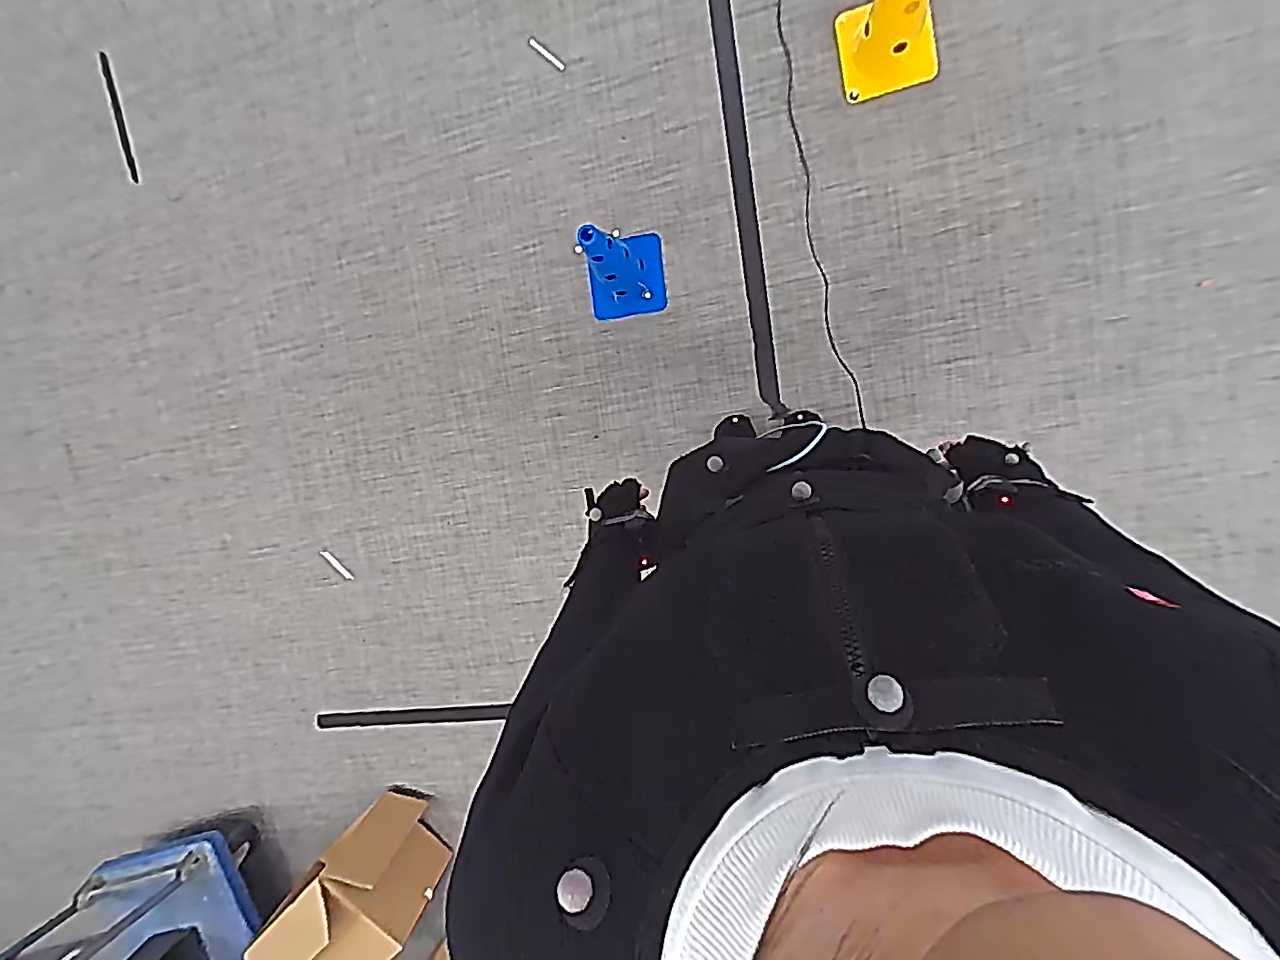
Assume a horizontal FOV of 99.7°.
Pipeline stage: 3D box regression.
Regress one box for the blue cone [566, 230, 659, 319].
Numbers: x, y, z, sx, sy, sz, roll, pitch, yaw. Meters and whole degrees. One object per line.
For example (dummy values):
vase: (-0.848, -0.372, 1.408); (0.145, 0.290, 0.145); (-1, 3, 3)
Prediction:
blue cone: (-0.083, -0.511, 1.264); (0.192, 0.380, 0.193); (-4, 96, 13)
